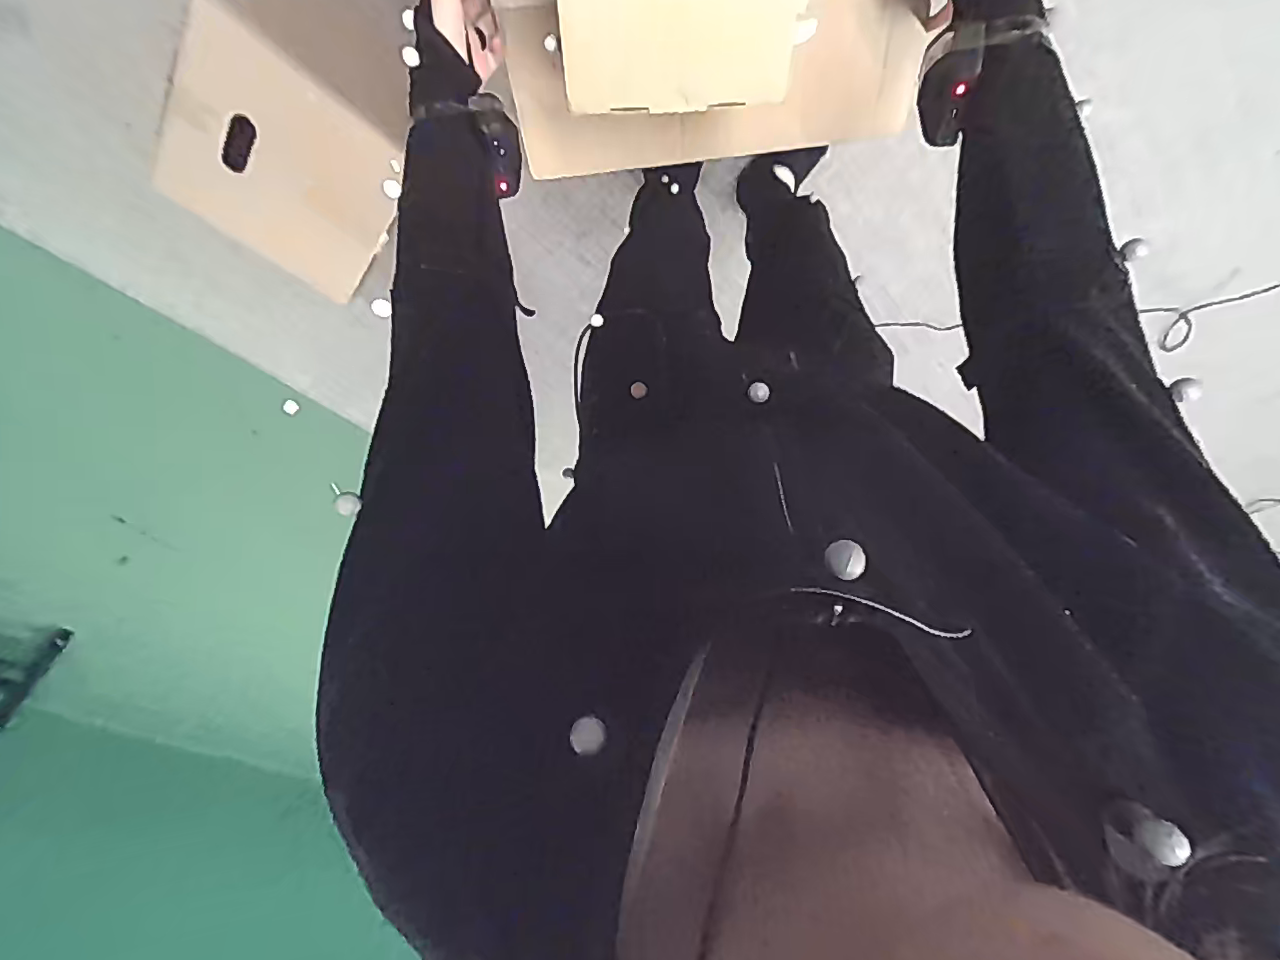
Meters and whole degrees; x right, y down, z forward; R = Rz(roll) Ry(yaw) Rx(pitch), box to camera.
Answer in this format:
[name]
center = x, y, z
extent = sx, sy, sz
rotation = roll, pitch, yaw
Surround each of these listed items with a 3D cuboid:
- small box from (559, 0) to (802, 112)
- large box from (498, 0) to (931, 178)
[small box]
center = 0.023, -0.391, 0.398
extent = 0.168, 0.176, 0.179
rotation = -3, 134, 0
[large box]
center = 0.058, -0.559, 0.577
extent = 0.408, 0.320, 0.320
rotation = -6, 135, 2
